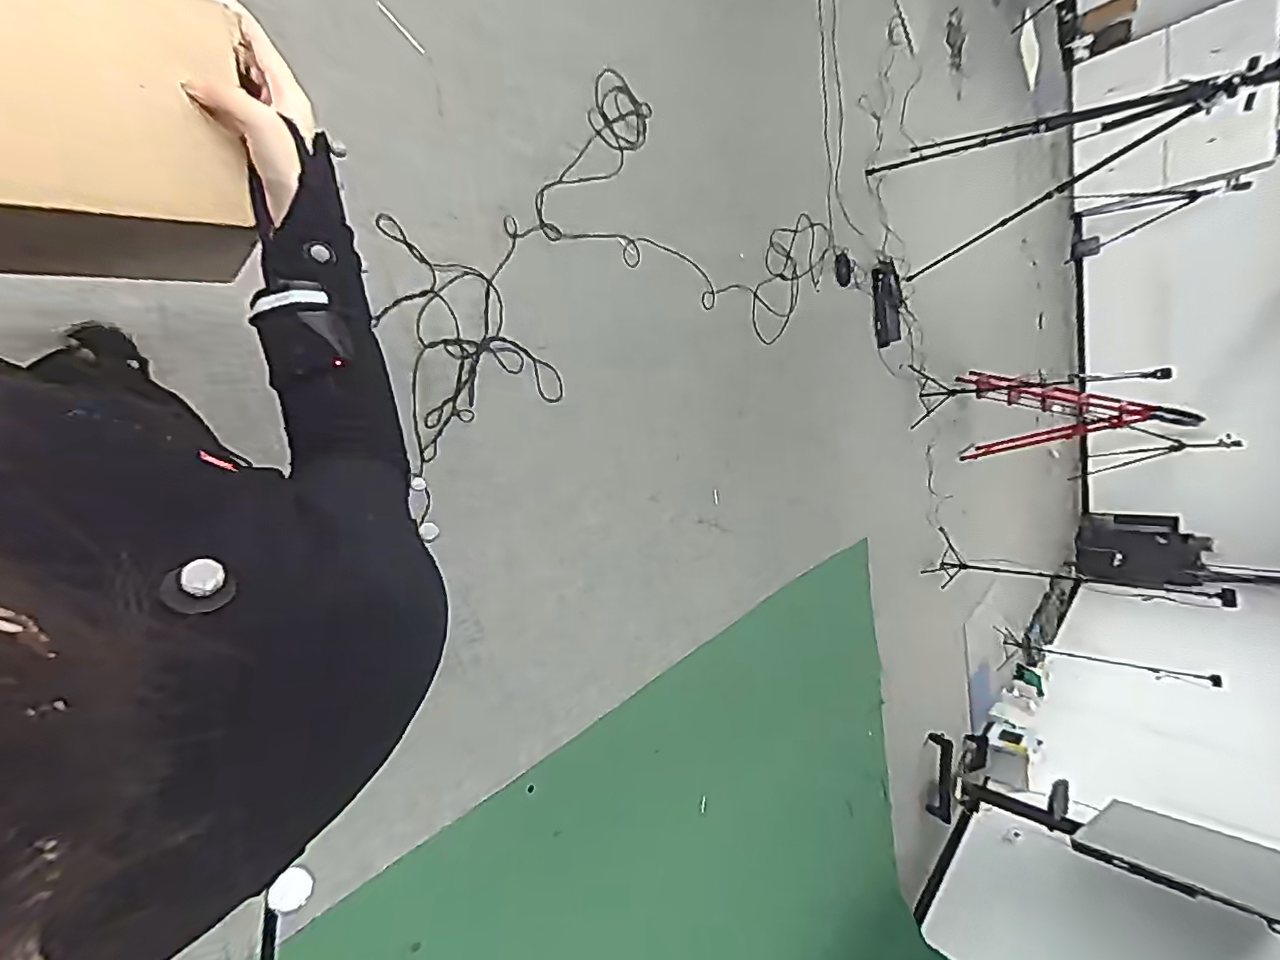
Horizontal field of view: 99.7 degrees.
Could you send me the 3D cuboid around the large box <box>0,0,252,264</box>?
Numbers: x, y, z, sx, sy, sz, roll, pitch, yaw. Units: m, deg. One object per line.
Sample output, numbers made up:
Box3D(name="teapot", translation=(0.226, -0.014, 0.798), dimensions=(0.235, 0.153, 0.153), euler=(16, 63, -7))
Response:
Box3D(name="large box", translation=(-0.557, -0.340, 0.381), dimensions=(0.408, 0.320, 0.320), euler=(-13, 107, -38))
